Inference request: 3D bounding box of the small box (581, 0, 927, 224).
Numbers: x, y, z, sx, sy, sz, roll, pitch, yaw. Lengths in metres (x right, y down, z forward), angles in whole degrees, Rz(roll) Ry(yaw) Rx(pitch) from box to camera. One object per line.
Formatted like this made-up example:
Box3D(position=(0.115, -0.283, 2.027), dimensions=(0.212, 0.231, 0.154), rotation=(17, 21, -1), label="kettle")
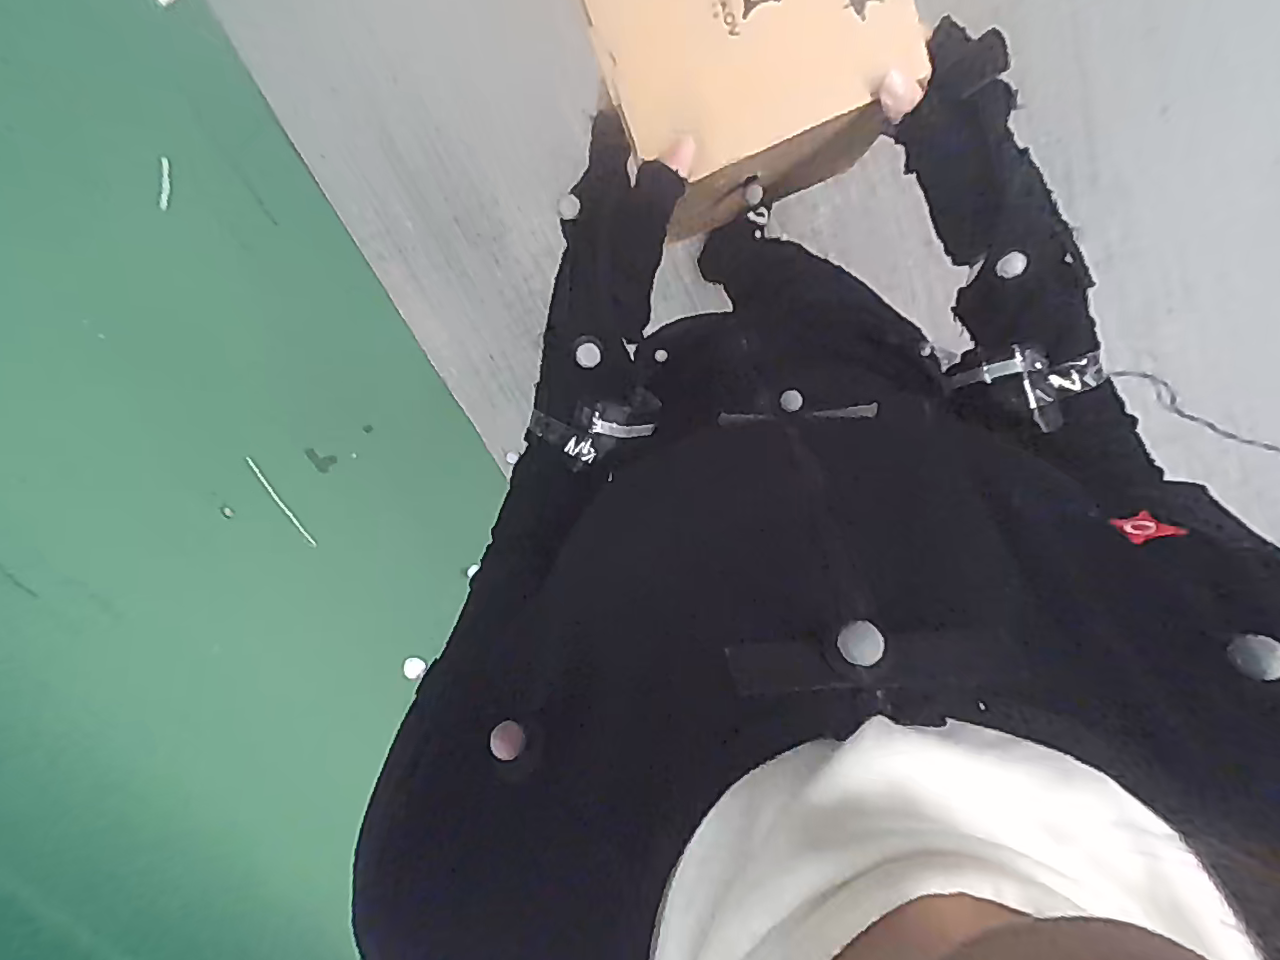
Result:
Box3D(position=(0.066, -0.315, 0.390), dimensions=(0.179, 0.176, 0.168), rotation=(-22, 98, 11), label="small box")
